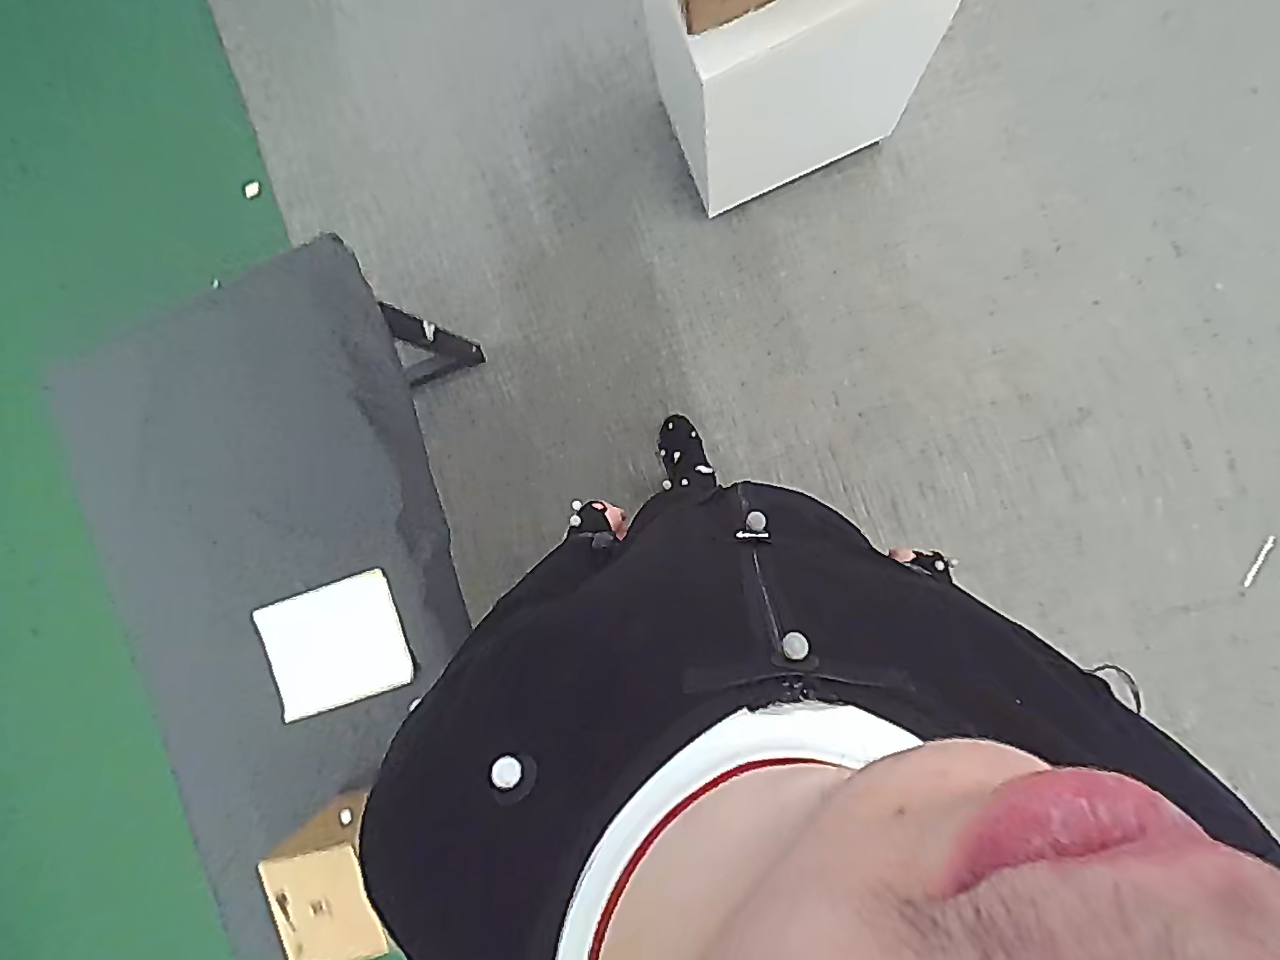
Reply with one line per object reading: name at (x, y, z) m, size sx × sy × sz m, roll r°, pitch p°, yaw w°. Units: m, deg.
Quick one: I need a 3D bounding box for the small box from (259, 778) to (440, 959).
small box at (-0.445, 0.612, 0.863) m, size 0.179 × 0.176 × 0.168 m, roll -19°, pitch 89°, yaw 9°
